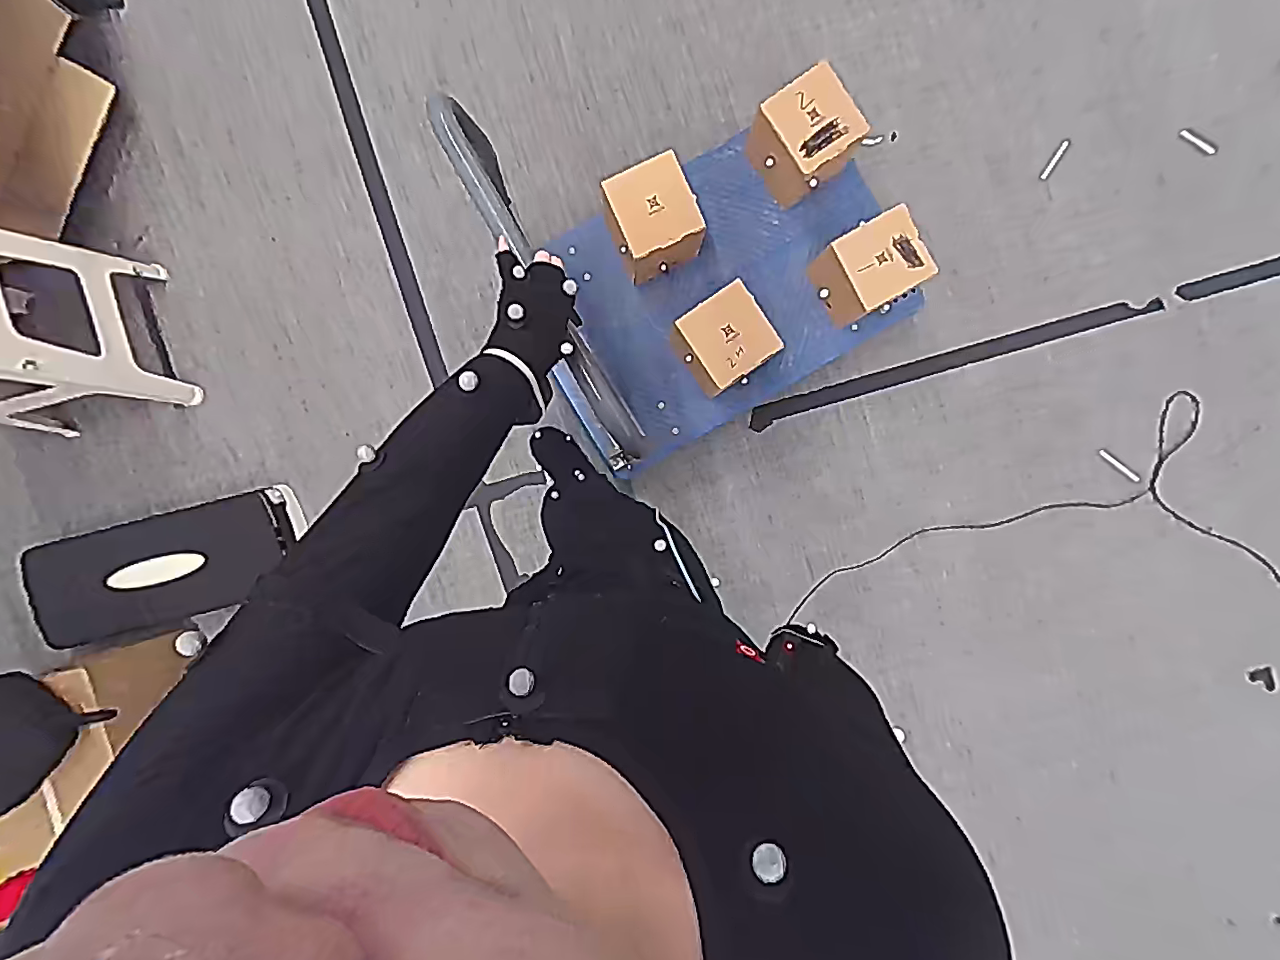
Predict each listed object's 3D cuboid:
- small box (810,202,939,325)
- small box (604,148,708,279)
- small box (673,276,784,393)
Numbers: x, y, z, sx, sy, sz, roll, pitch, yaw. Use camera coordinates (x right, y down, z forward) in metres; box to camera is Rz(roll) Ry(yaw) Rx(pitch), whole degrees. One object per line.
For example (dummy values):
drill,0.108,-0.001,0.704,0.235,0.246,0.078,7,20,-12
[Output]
small box,0.511,-0.472,1.205,0.179,0.176,0.168,-29,93,2
small box,0.029,-0.578,1.193,0.168,0.176,0.179,-25,94,0
small box,0.187,-0.313,1.207,0.168,0.176,0.179,-34,93,1
